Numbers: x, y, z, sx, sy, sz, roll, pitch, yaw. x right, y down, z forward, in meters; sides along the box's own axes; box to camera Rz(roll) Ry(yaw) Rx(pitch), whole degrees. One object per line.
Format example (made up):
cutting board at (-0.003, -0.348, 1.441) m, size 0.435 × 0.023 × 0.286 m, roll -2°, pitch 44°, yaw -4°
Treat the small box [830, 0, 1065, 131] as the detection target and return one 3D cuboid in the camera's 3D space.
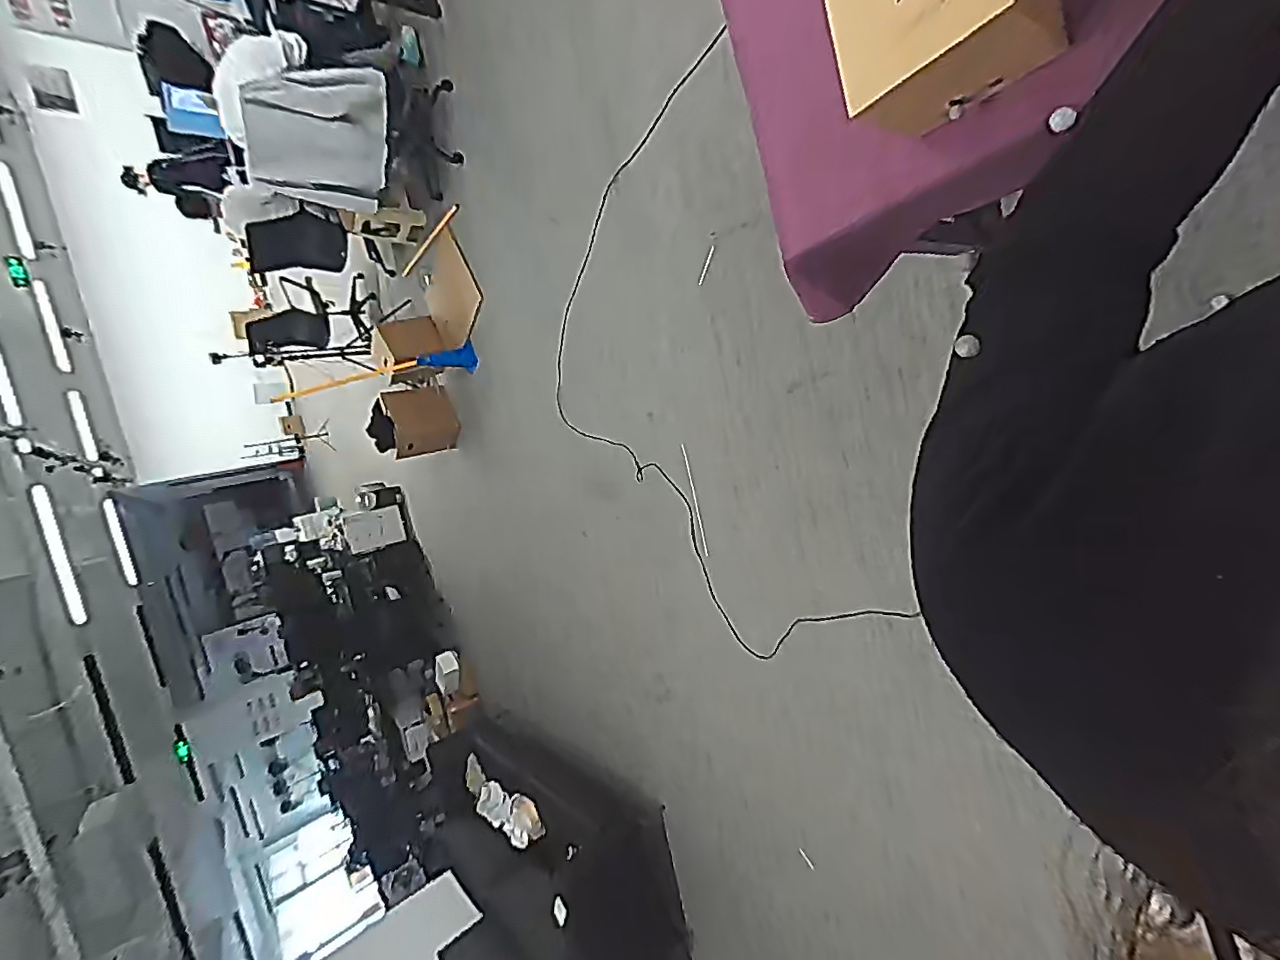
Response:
small box at (0.333, -0.523, 0.593) m, size 0.168 × 0.176 × 0.179 m, roll -8°, pitch 98°, yaw 53°
